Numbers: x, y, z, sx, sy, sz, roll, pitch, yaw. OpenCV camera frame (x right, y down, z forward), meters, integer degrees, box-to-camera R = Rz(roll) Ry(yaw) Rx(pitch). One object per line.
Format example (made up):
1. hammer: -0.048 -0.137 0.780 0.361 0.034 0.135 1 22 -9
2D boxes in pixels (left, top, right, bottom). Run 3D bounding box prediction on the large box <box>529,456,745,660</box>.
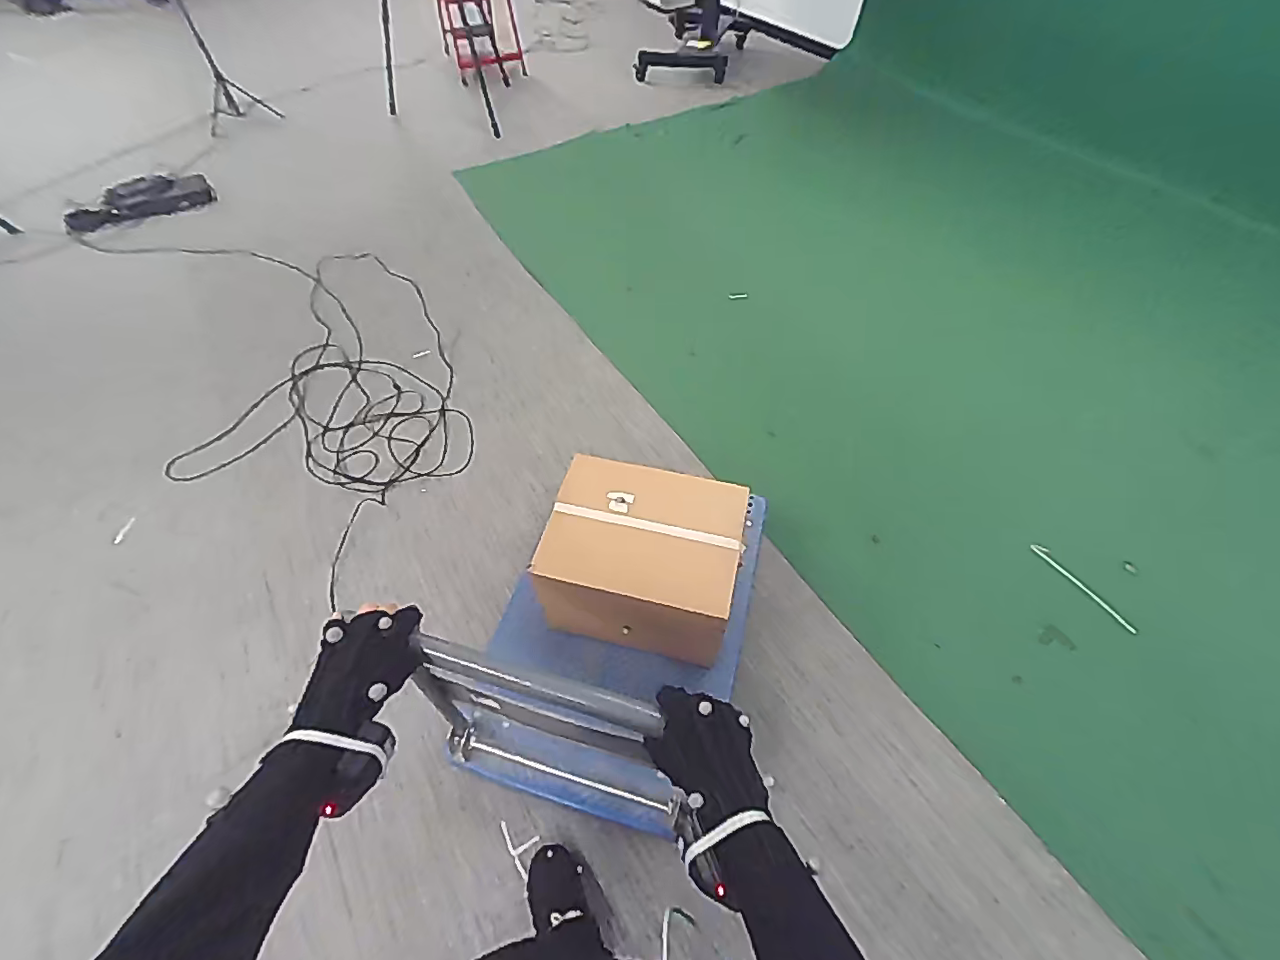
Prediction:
1. large box: 0.008 0.186 1.253 0.408 0.320 0.320 11 55 9
